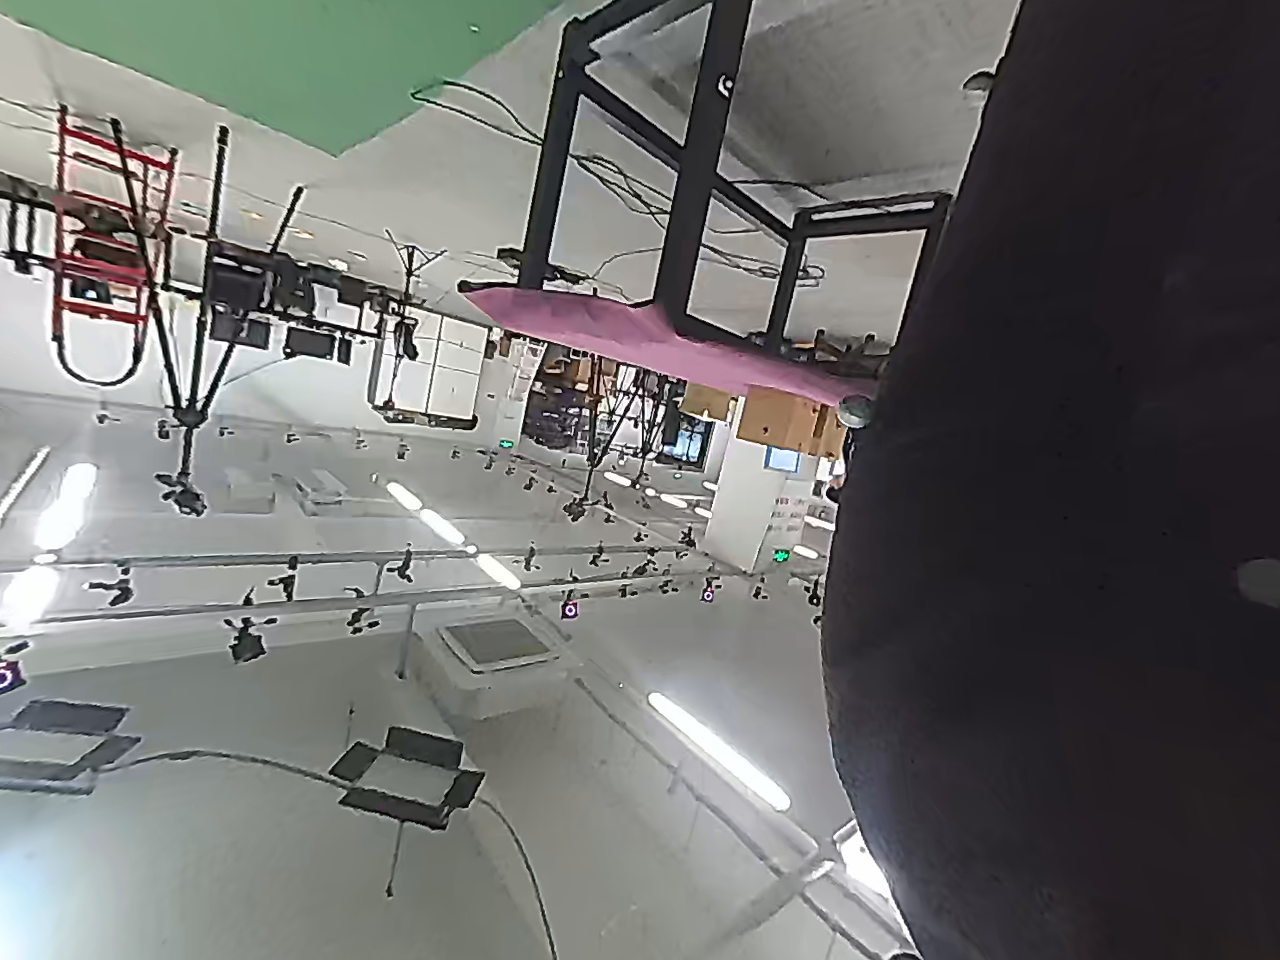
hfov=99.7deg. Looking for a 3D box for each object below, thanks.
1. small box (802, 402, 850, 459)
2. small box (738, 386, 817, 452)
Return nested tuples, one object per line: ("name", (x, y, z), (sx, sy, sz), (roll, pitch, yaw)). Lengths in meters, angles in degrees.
("small box", (0.593, -0.180, 1.863), (0.168, 0.176, 0.179), (5, -169, -45))
("small box", (0.439, -0.194, 1.706), (0.168, 0.176, 0.179), (5, -169, -46))
